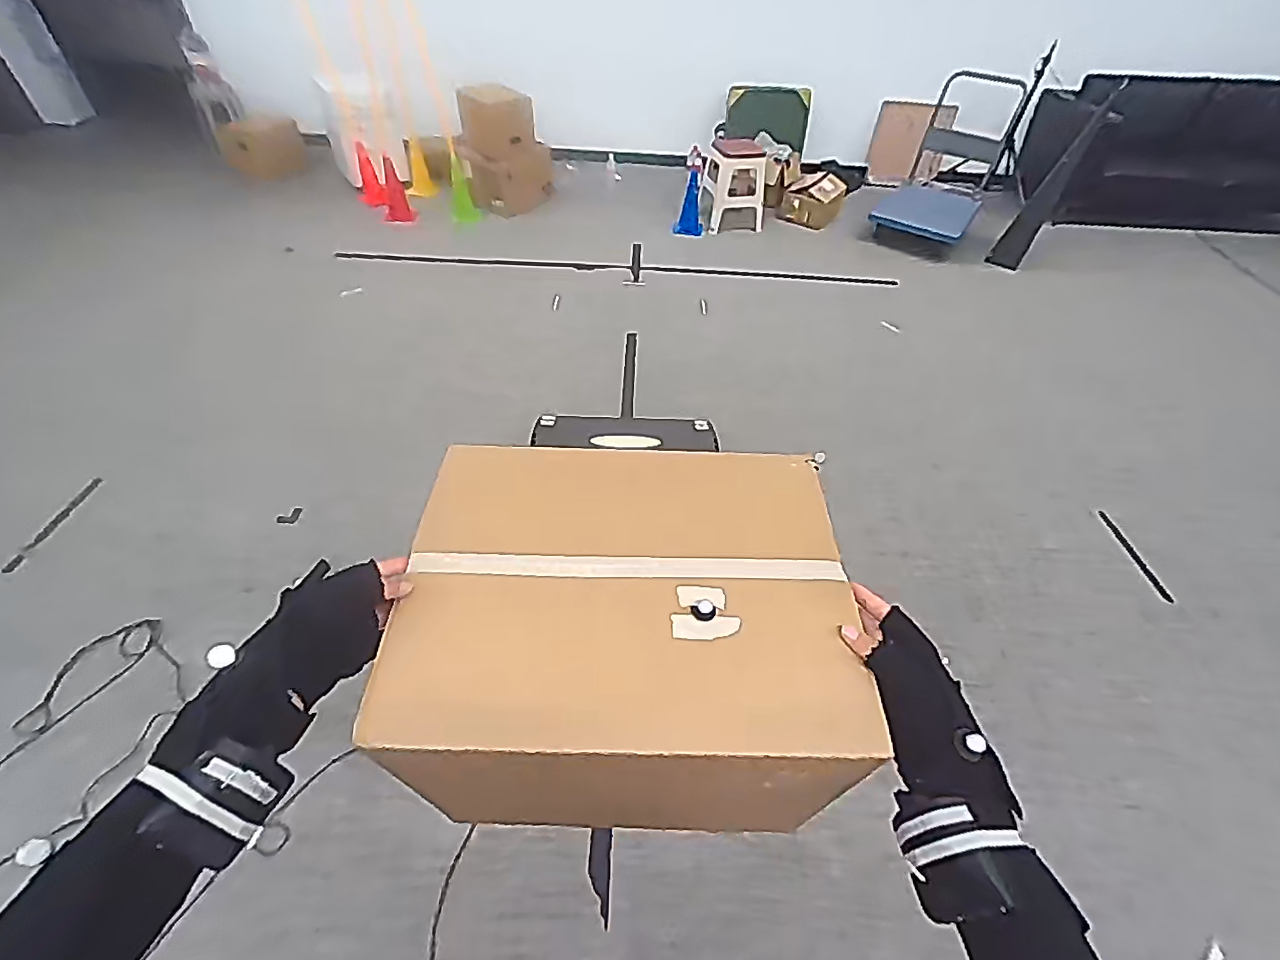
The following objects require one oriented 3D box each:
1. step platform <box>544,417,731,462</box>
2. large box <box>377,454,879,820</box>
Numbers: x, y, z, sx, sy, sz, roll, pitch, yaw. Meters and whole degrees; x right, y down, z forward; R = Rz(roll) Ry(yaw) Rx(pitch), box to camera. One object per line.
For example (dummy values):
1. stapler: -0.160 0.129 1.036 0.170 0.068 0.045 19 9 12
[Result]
1. step platform: -0.011 -0.067 1.995 0.684 0.204 0.286 2 47 -4
2. large box: -0.013 0.188 0.629 0.408 0.320 0.320 2 49 -1
